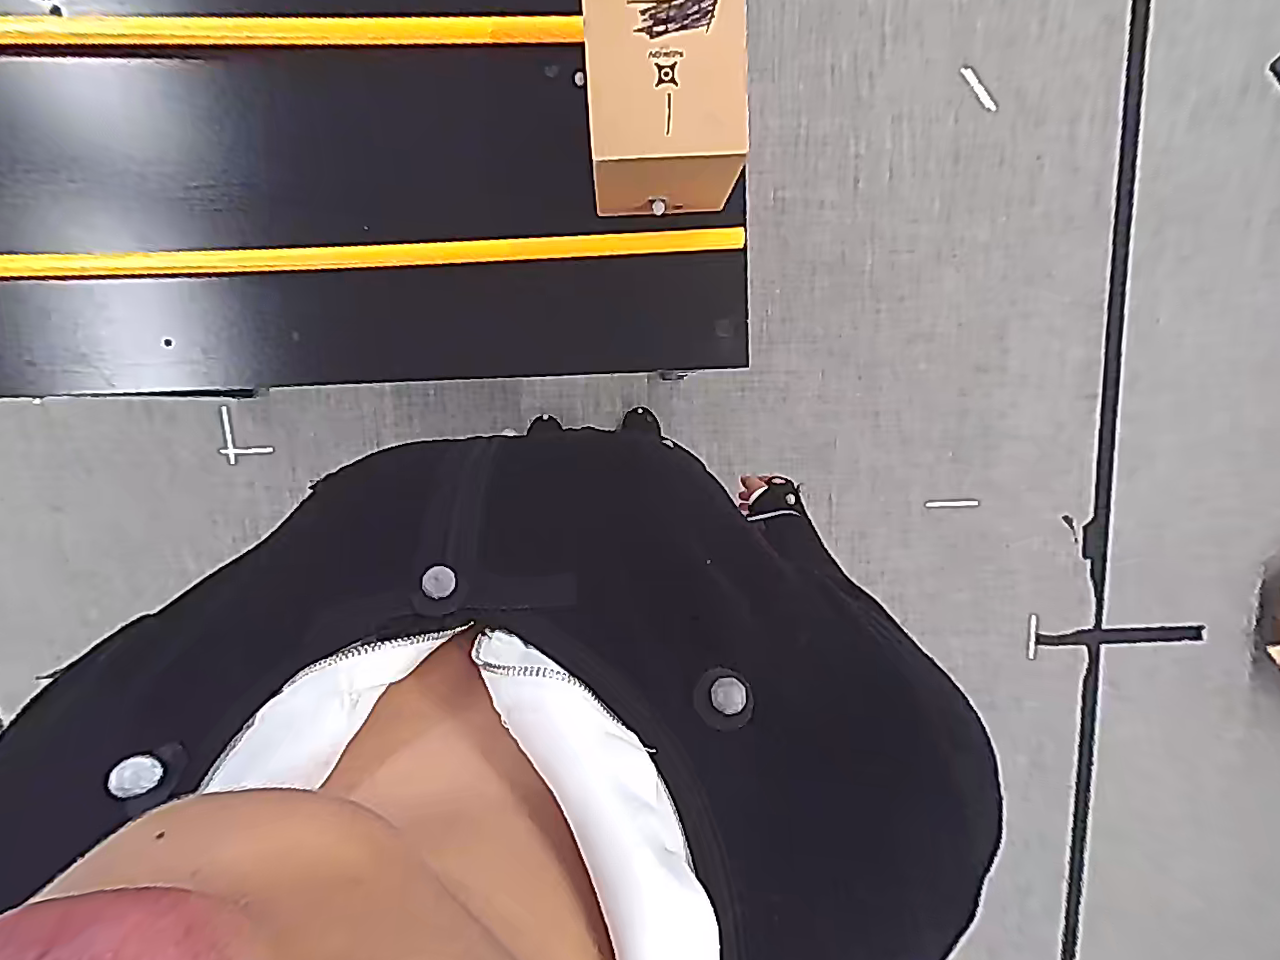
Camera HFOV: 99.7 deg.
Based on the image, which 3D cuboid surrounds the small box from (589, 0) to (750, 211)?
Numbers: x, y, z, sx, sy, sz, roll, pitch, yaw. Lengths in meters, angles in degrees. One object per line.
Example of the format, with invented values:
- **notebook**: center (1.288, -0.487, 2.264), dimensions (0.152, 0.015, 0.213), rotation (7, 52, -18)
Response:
- **small box**: center (0.027, -0.435, 0.627), dimensions (0.168, 0.176, 0.179), rotation (-3, 98, -1)
